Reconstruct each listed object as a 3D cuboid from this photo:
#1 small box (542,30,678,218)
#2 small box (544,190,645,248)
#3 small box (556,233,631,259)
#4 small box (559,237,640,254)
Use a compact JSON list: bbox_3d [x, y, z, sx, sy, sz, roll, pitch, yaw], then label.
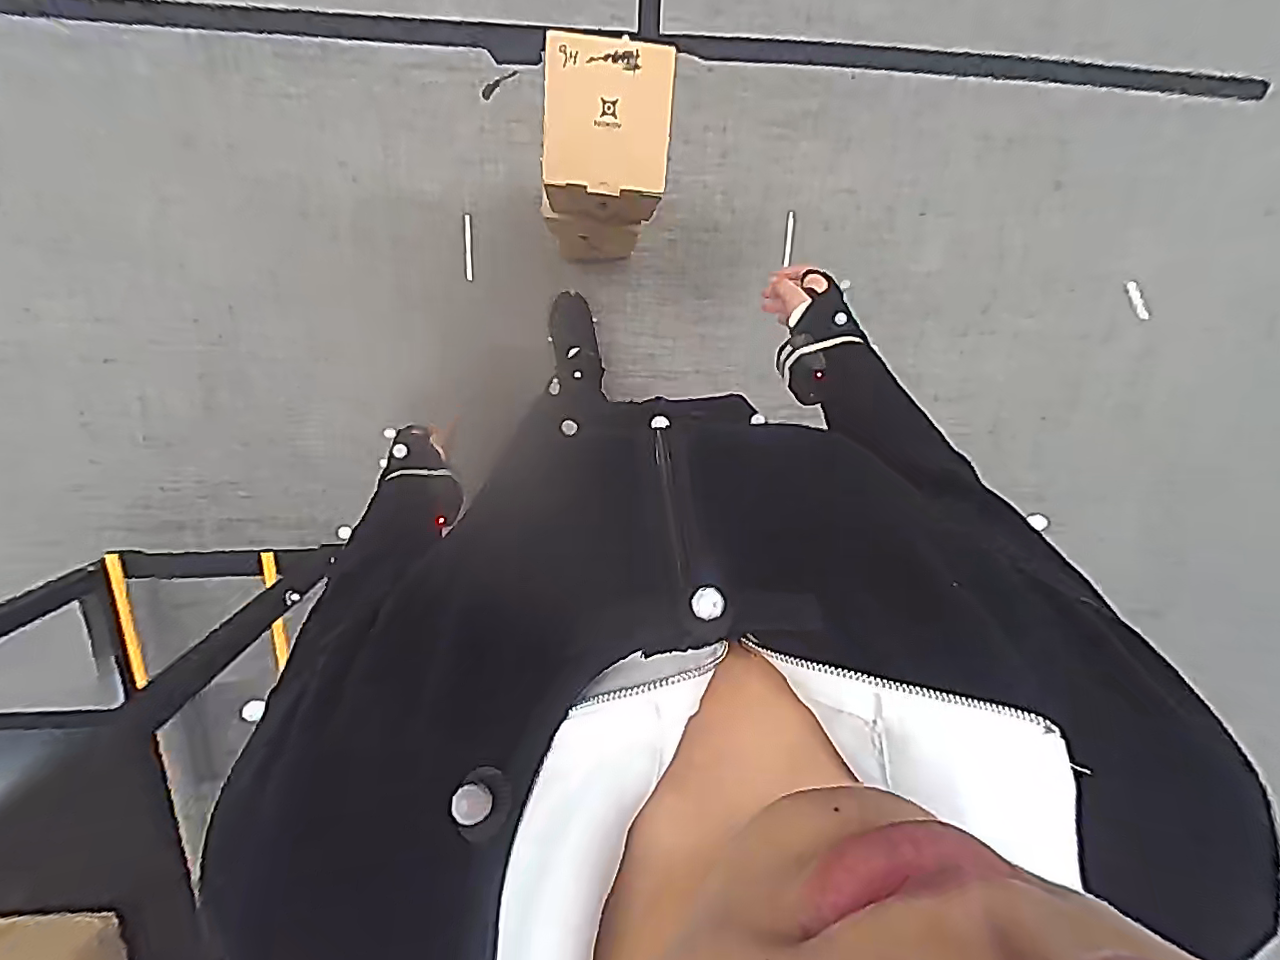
[{"bbox_3d":[-0.045,-0.487,0.771,0.168,0.176,0.179,4,105,-6],"label":"small box"},{"bbox_3d":[-0.070,-0.516,0.932,0.168,0.176,0.179,7,105,-6],"label":"small box"},{"bbox_3d":[-0.103,-0.606,1.245,0.179,0.176,0.168,-3,105,-5],"label":"small box"},{"bbox_3d":[-0.083,-0.565,1.087,0.168,0.176,0.179,1,105,-5],"label":"small box"}]
